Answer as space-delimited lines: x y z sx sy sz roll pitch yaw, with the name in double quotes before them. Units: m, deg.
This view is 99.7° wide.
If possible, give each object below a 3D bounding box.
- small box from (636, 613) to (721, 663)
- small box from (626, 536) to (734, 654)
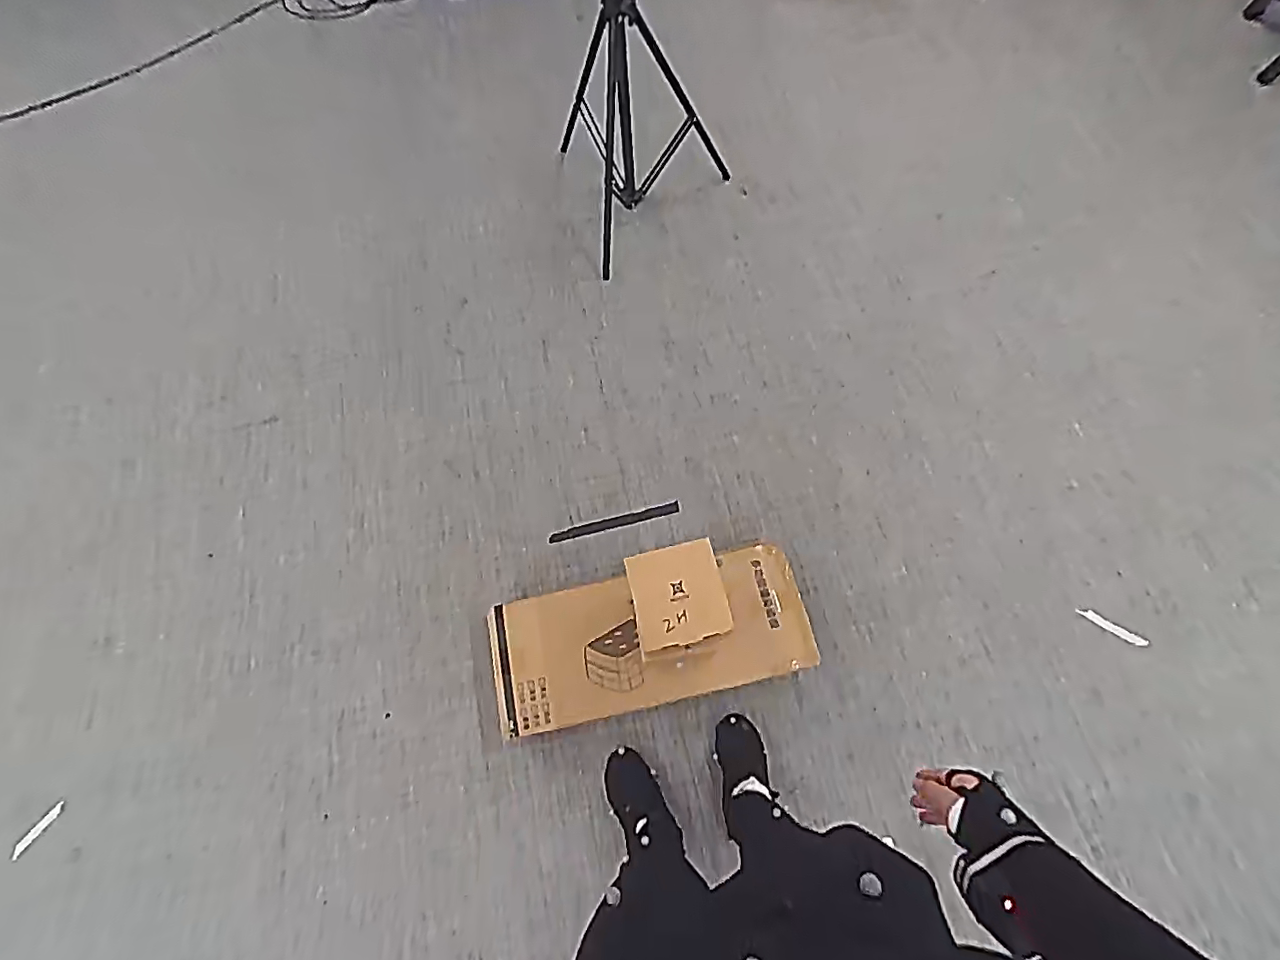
"small box" 0.077 0.302 1.199 0.168 0.176 0.179 -10 70 0
"small box" 0.072 0.229 1.050 0.168 0.176 0.179 -13 69 -2
